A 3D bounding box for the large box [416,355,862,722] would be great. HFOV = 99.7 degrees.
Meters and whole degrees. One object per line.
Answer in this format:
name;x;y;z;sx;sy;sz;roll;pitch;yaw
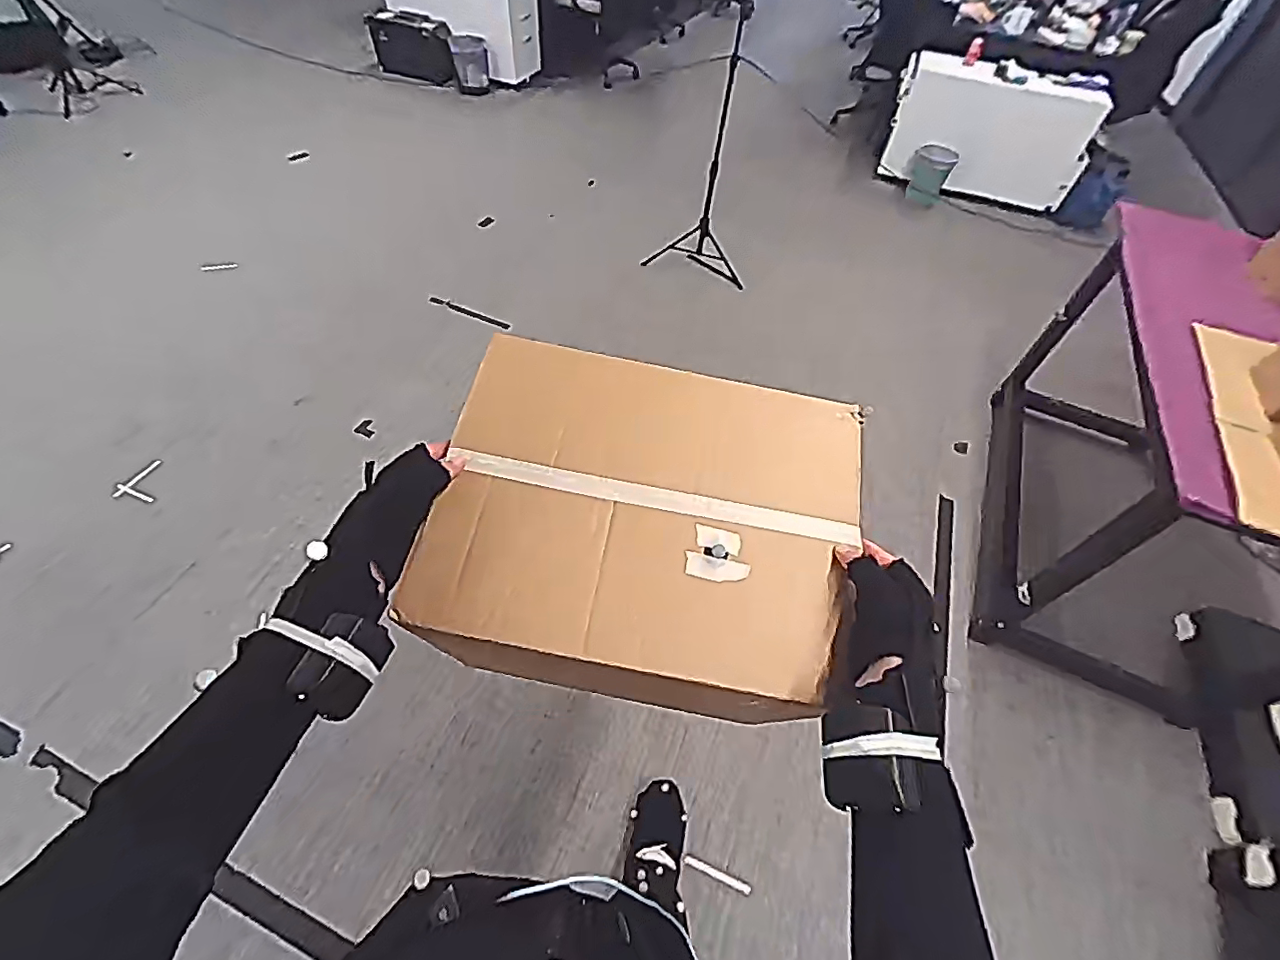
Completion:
large box;0.007;0.094;0.666;0.408;0.320;0.320;12;64;-1
